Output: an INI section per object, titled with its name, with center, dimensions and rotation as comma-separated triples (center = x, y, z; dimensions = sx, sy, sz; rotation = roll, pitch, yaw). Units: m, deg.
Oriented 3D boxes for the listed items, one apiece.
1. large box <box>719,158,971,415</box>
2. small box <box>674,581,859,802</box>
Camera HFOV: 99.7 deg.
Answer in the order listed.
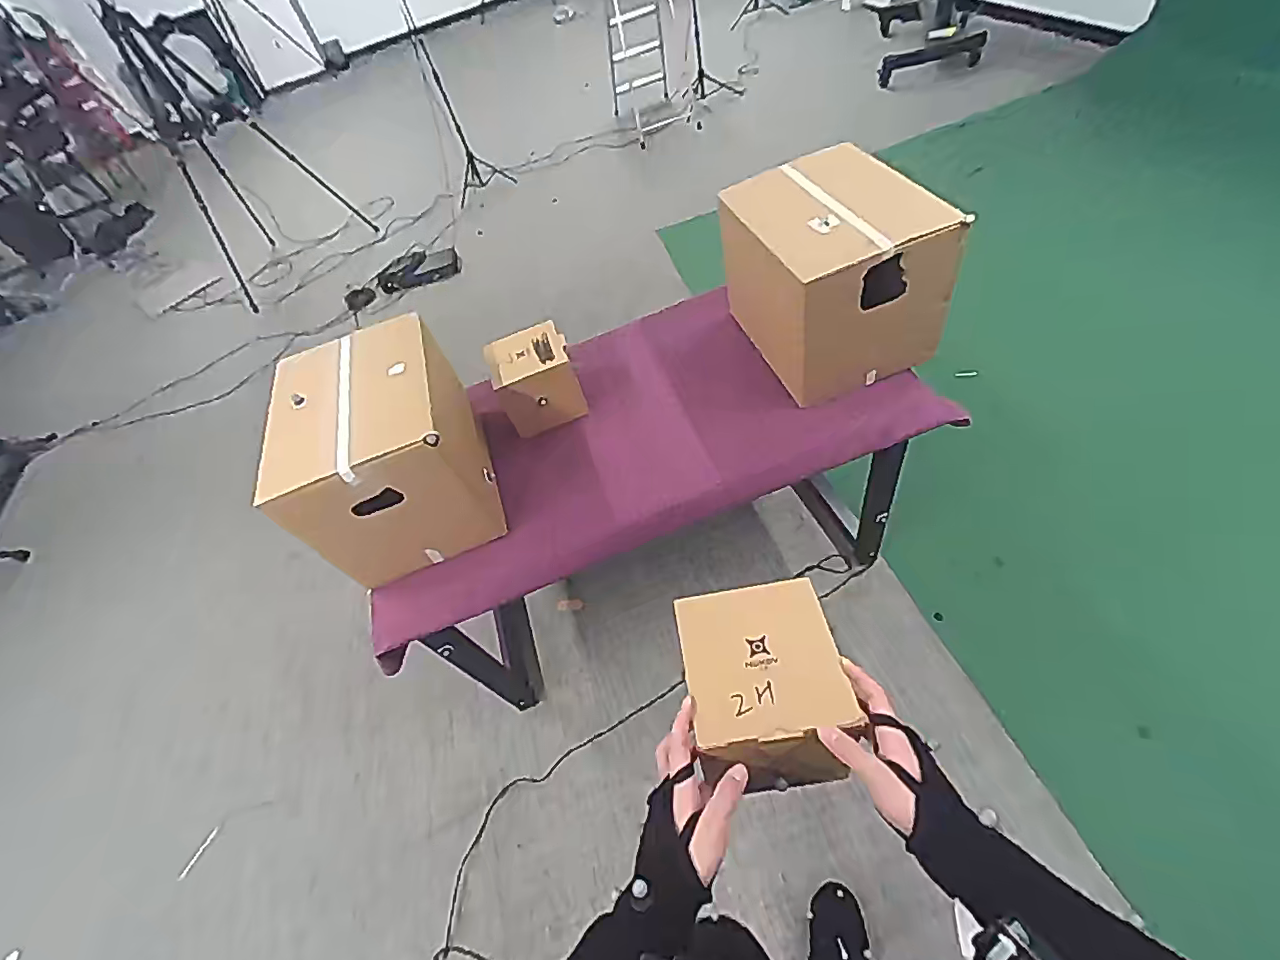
[large box]
center = 0.398, -0.415, 1.159
dimensions = 0.320, 0.320, 0.408
rotation = -22, 51, 0
[small box]
center = 0.137, 0.248, 0.635
dimensions = 0.168, 0.176, 0.179
rotation = -11, 43, 4
